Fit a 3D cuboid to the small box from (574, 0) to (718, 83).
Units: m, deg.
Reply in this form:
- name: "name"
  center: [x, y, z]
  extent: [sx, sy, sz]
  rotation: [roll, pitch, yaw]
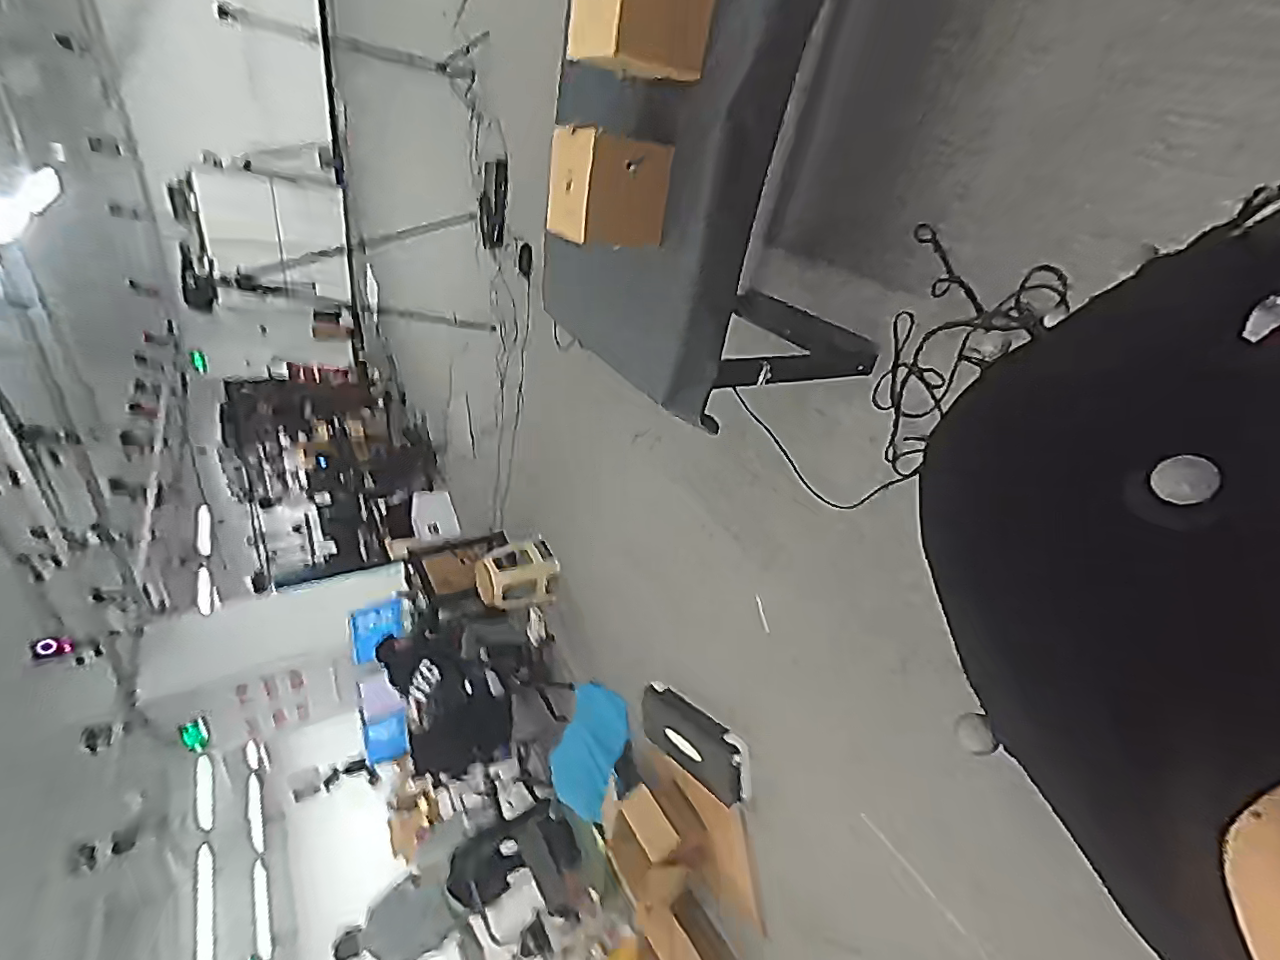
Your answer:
- name: "small box"
  center: [0.011, -0.760, 0.868]
  extent: [0.168, 0.176, 0.179]
  rotation: [45, 133, 43]

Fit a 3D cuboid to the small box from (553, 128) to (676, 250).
- name: "small box"
  center: [-0.050, -0.546, 1.022]
  extent: [0.168, 0.176, 0.179]
  rotation: [43, 134, 45]
